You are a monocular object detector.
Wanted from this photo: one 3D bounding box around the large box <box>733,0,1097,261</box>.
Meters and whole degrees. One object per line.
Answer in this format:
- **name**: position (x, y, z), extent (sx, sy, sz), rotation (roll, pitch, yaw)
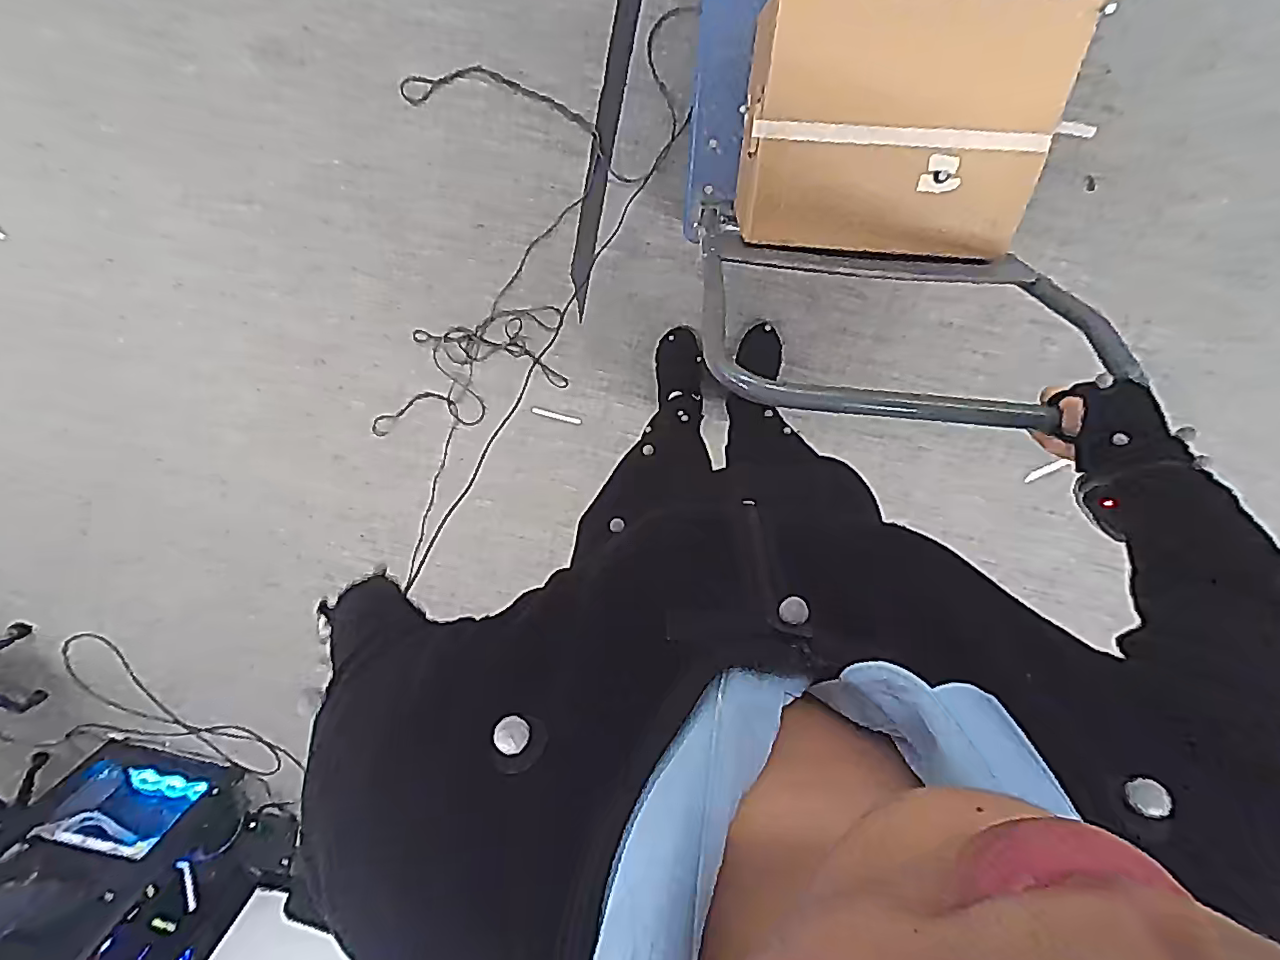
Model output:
- **large box**: position (0.378, -0.563, 0.888), extent (0.408, 0.320, 0.320), rotation (5, 125, 2)
